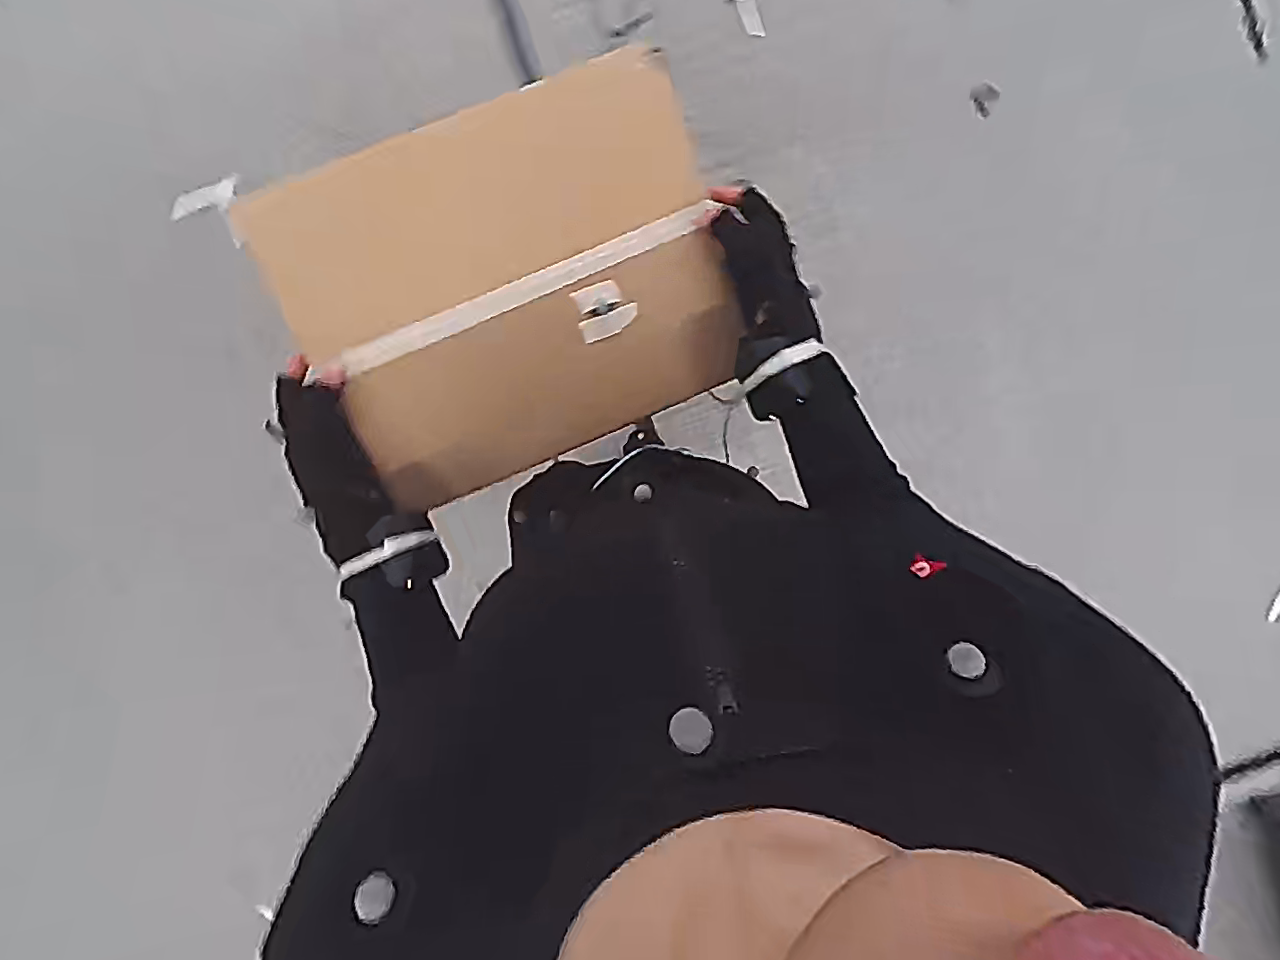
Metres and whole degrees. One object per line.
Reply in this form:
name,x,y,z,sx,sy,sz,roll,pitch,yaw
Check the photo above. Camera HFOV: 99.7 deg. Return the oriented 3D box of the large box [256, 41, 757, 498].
large box,-0.133,-0.221,0.672,0.408,0.320,0.320,-23,104,-3
